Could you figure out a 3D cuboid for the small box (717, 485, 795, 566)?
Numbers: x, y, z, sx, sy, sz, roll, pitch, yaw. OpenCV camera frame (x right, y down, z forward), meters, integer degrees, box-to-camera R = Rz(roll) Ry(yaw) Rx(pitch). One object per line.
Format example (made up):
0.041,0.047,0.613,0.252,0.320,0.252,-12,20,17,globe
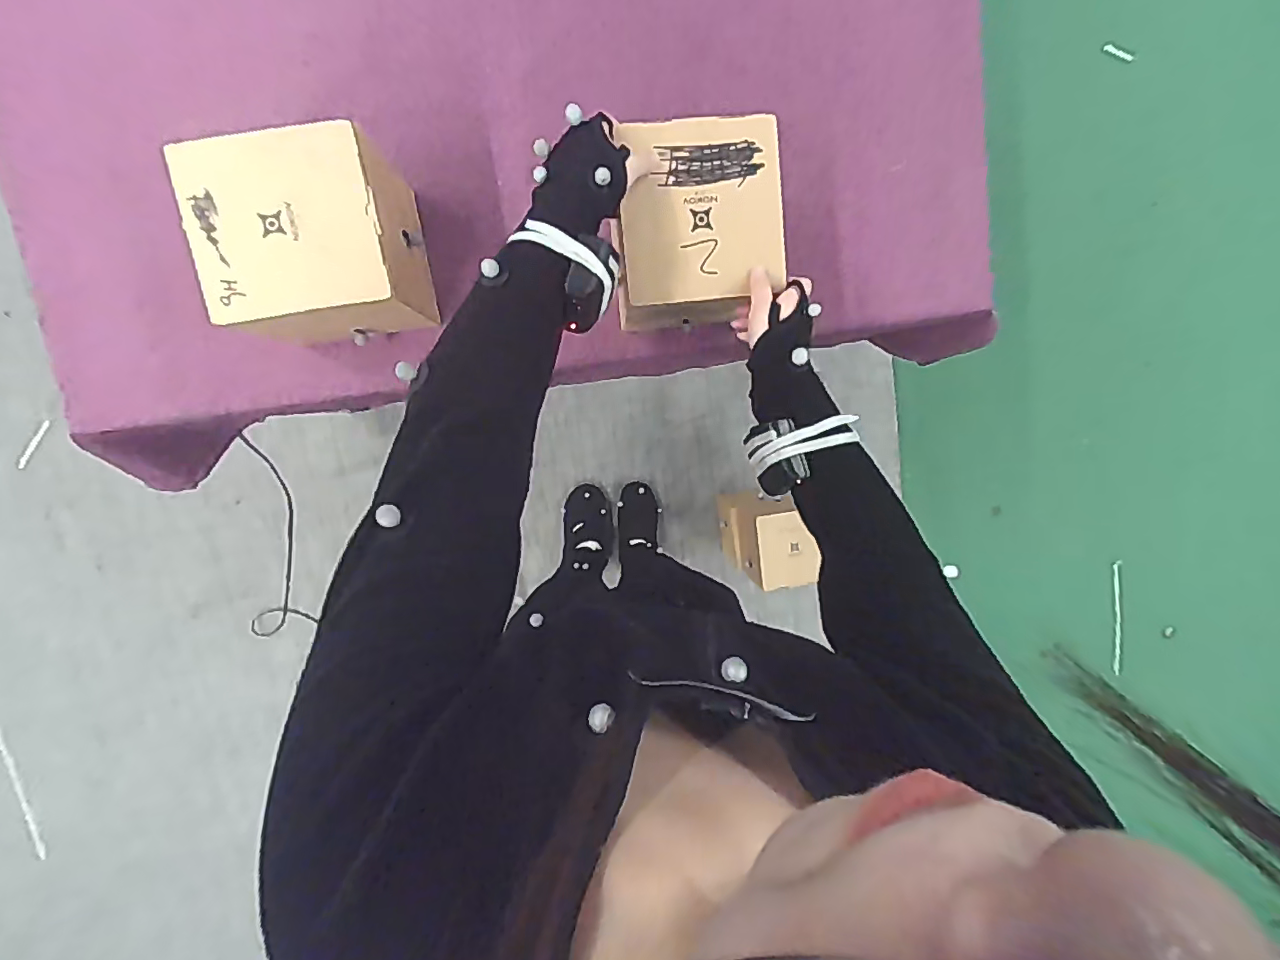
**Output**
0.311,0.114,1.441,0.179,0.176,0.168,-11,99,-4,small box

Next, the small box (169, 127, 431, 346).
-0.344,-0.250,0.593,0.179,0.176,0.168,-11,98,-4,small box

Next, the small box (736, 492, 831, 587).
0.334,0.134,1.281,0.168,0.176,0.179,-8,98,-6,small box
